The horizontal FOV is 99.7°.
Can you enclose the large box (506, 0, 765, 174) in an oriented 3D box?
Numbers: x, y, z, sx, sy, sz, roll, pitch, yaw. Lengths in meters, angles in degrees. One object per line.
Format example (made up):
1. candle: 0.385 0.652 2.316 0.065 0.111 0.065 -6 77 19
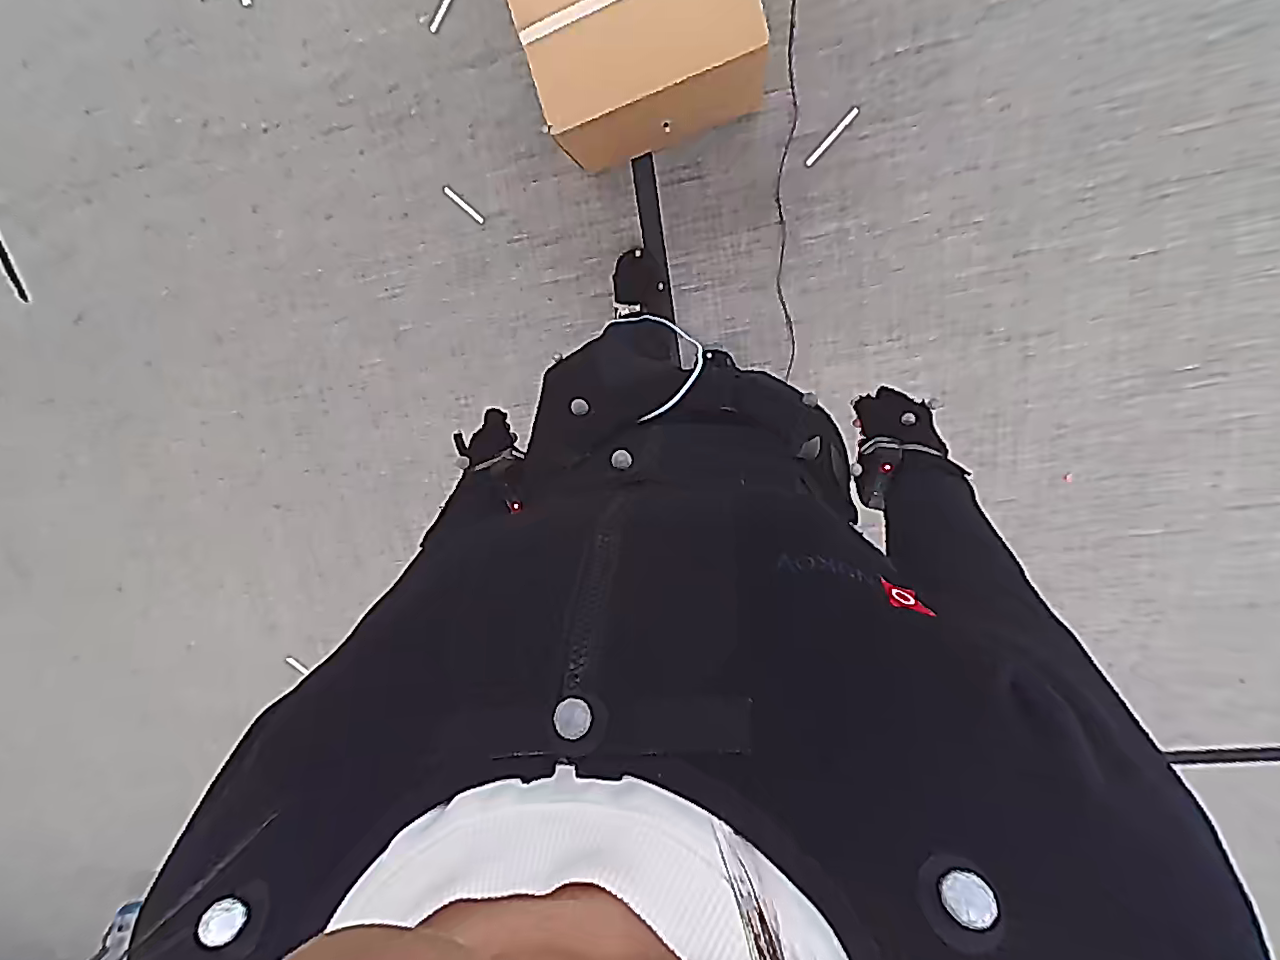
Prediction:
1. large box: 0.001 -0.855 1.043 0.408 0.320 0.320 -14 104 14
